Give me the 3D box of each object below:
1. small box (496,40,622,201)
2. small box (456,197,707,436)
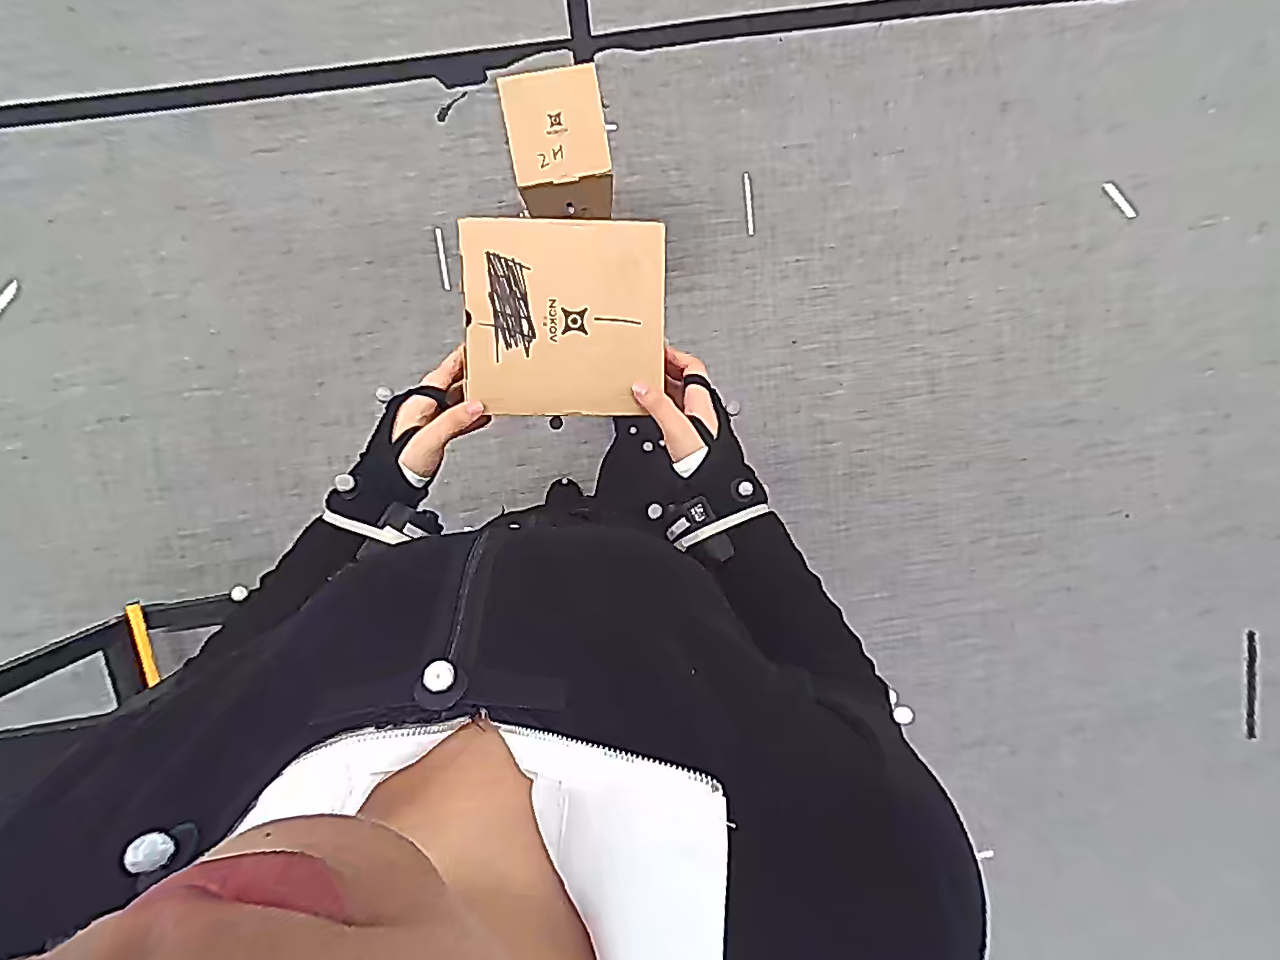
[{"bbox_3d":[-0.127,-0.570,0.894,0.168,0.176,0.179,-10,99,-1],"label":"small box"},{"bbox_3d":[-0.045,-0.123,0.463,0.179,0.176,0.168,-1,98,-5],"label":"small box"}]
